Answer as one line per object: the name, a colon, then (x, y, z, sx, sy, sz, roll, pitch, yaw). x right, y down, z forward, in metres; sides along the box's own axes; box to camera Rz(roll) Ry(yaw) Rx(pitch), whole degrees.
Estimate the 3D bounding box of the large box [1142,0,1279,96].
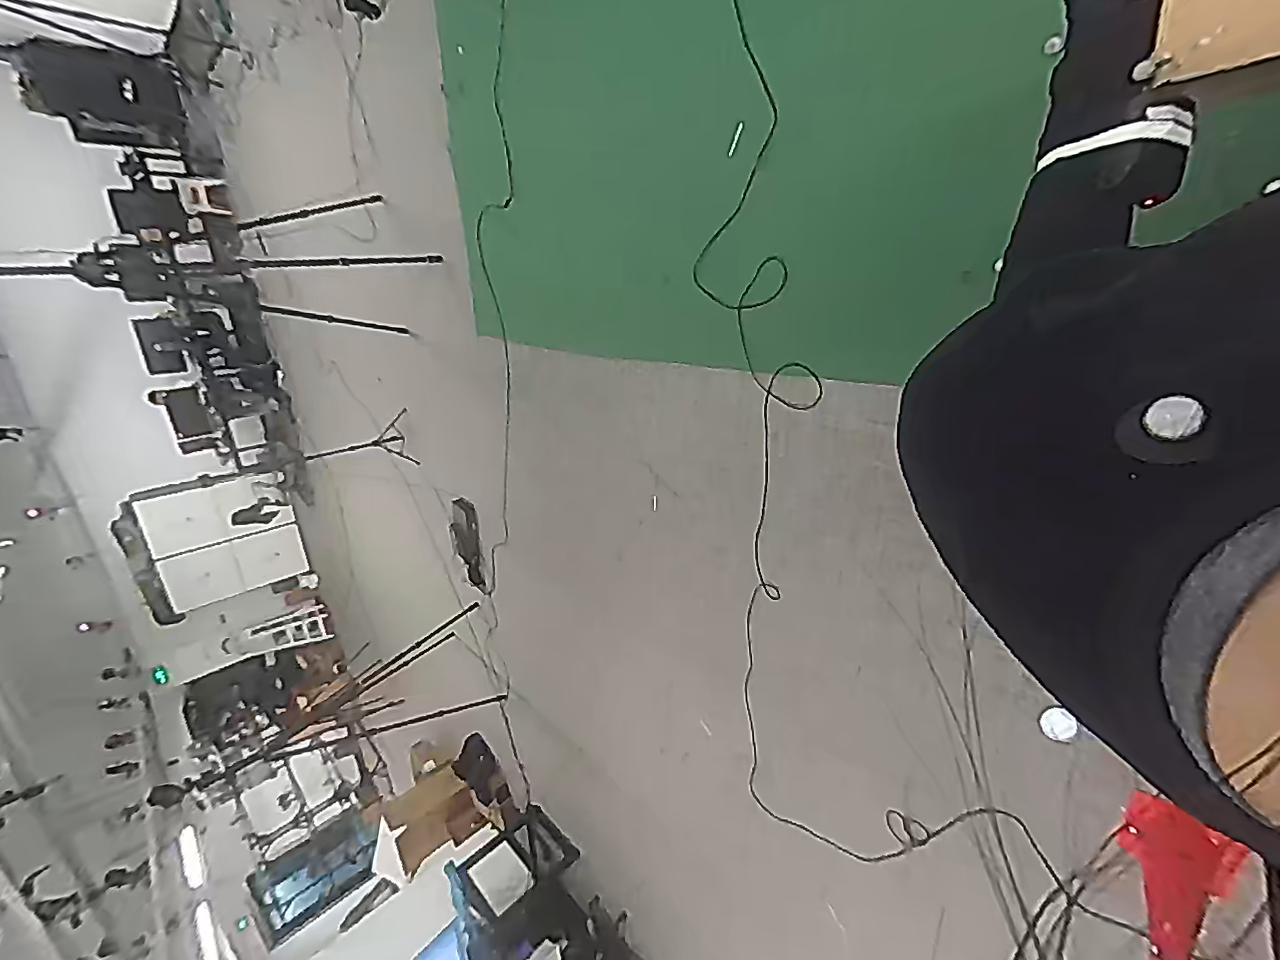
large box: (0.590, -0.468, 0.308, 0.408, 0.320, 0.320, 11, 120, 42)
